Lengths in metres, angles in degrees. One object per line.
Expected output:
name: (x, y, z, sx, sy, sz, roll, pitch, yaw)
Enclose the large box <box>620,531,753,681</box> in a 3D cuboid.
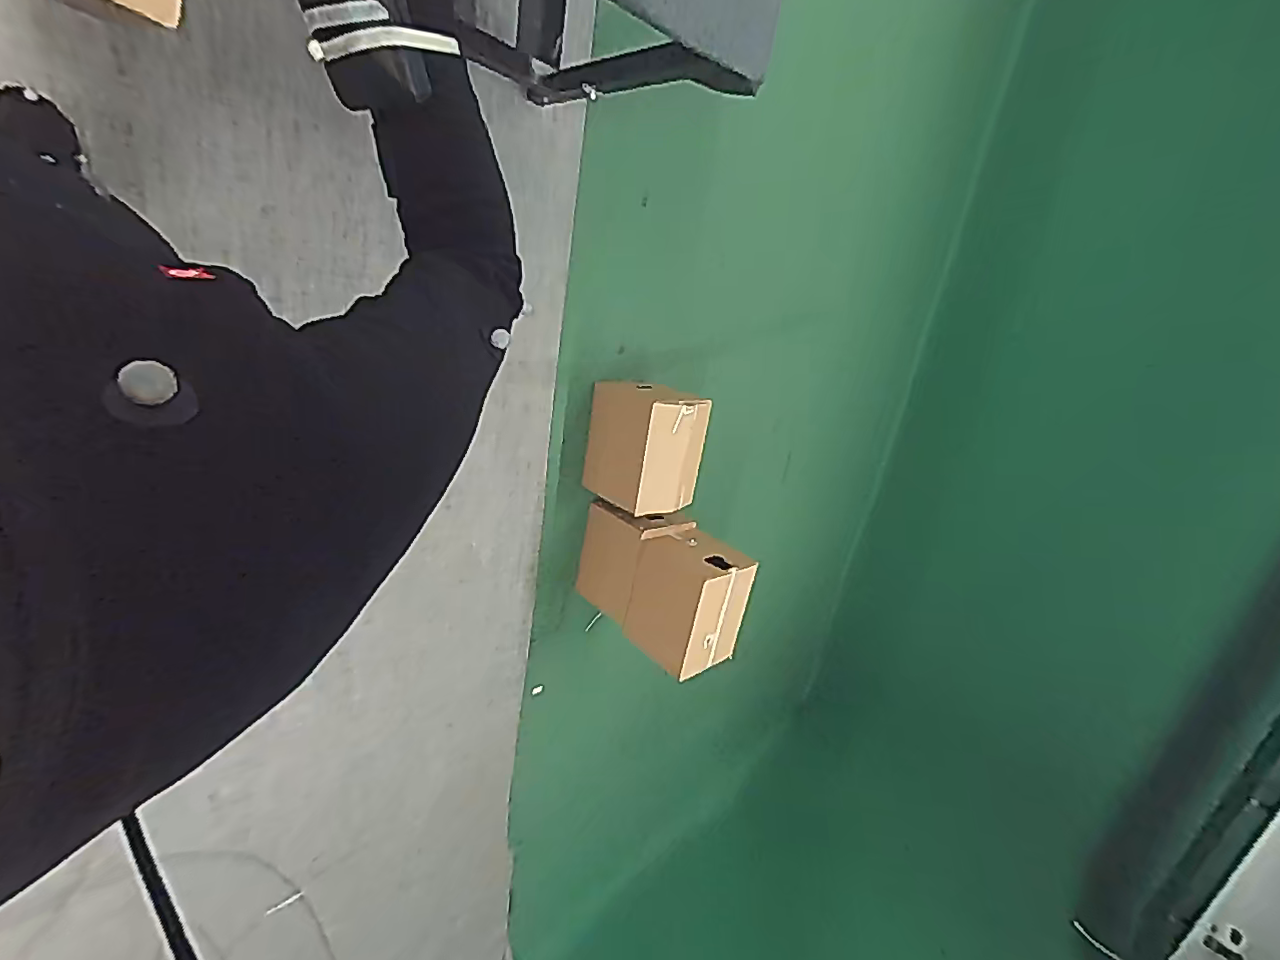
large box: (0.163, 0.446, 1.998, 0.320, 0.320, 0.408, -6, 115, -44)
